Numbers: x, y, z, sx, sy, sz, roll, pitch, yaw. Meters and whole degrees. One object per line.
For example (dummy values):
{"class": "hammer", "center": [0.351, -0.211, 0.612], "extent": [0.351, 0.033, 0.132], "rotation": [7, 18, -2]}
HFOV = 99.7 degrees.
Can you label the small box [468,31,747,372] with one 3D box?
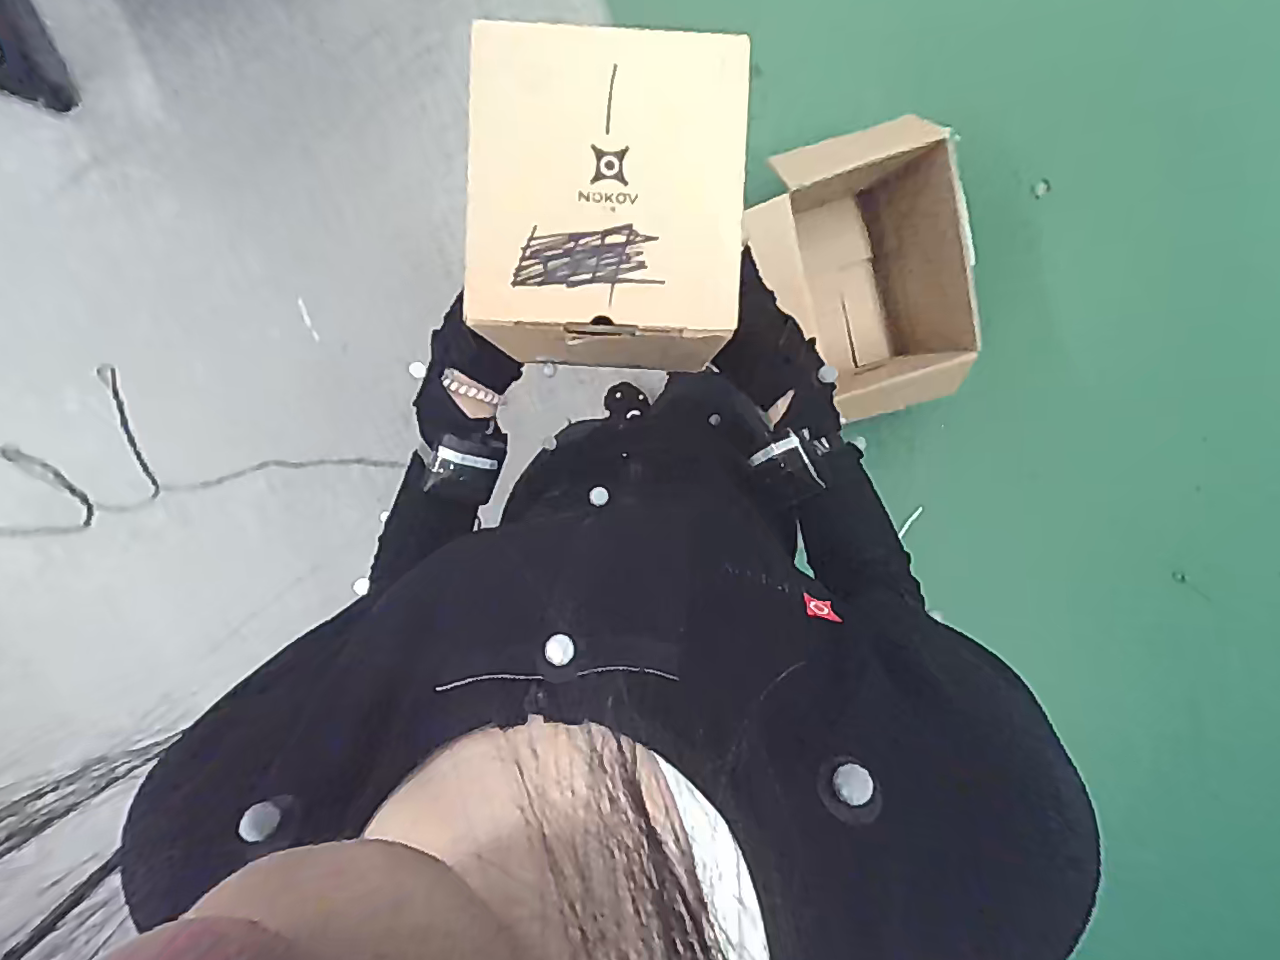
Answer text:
{"class": "small box", "center": [-0.023, -0.180, 0.405], "extent": [0.168, 0.176, 0.179], "rotation": [2, 92, -3]}
